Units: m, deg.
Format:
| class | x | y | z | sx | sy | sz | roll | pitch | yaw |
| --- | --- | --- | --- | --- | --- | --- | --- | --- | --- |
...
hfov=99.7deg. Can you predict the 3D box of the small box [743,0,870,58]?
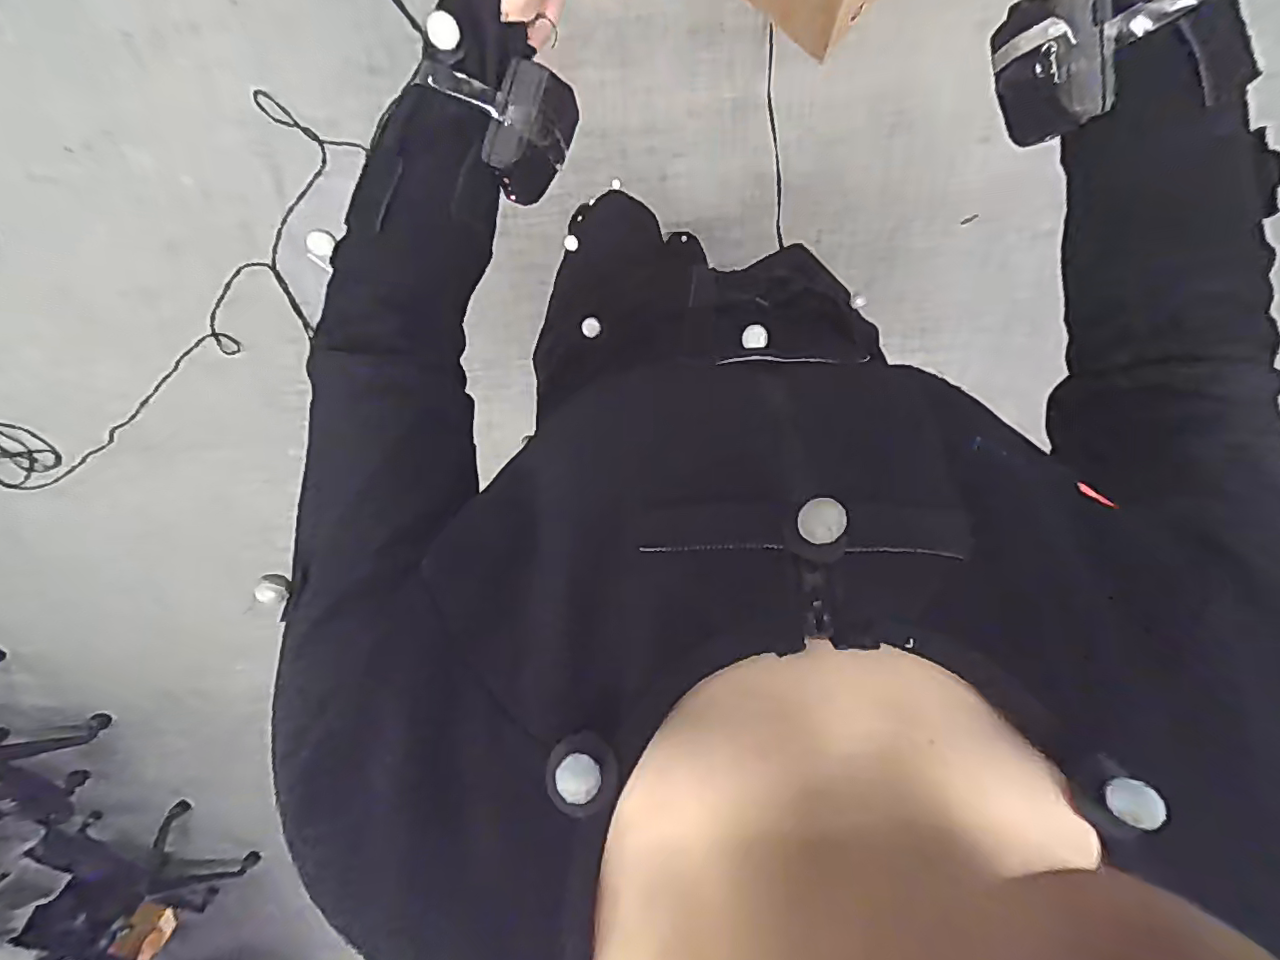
| class | x | y | z | sx | sy | sz | roll | pitch | yaw |
| --- | --- | --- | --- | --- | --- | --- | --- | --- | --- |
| small box | 0.078 | -0.336 | 0.205 | 0.176 | 0.168 | 0.179 | 40 | 103 | 1 |
